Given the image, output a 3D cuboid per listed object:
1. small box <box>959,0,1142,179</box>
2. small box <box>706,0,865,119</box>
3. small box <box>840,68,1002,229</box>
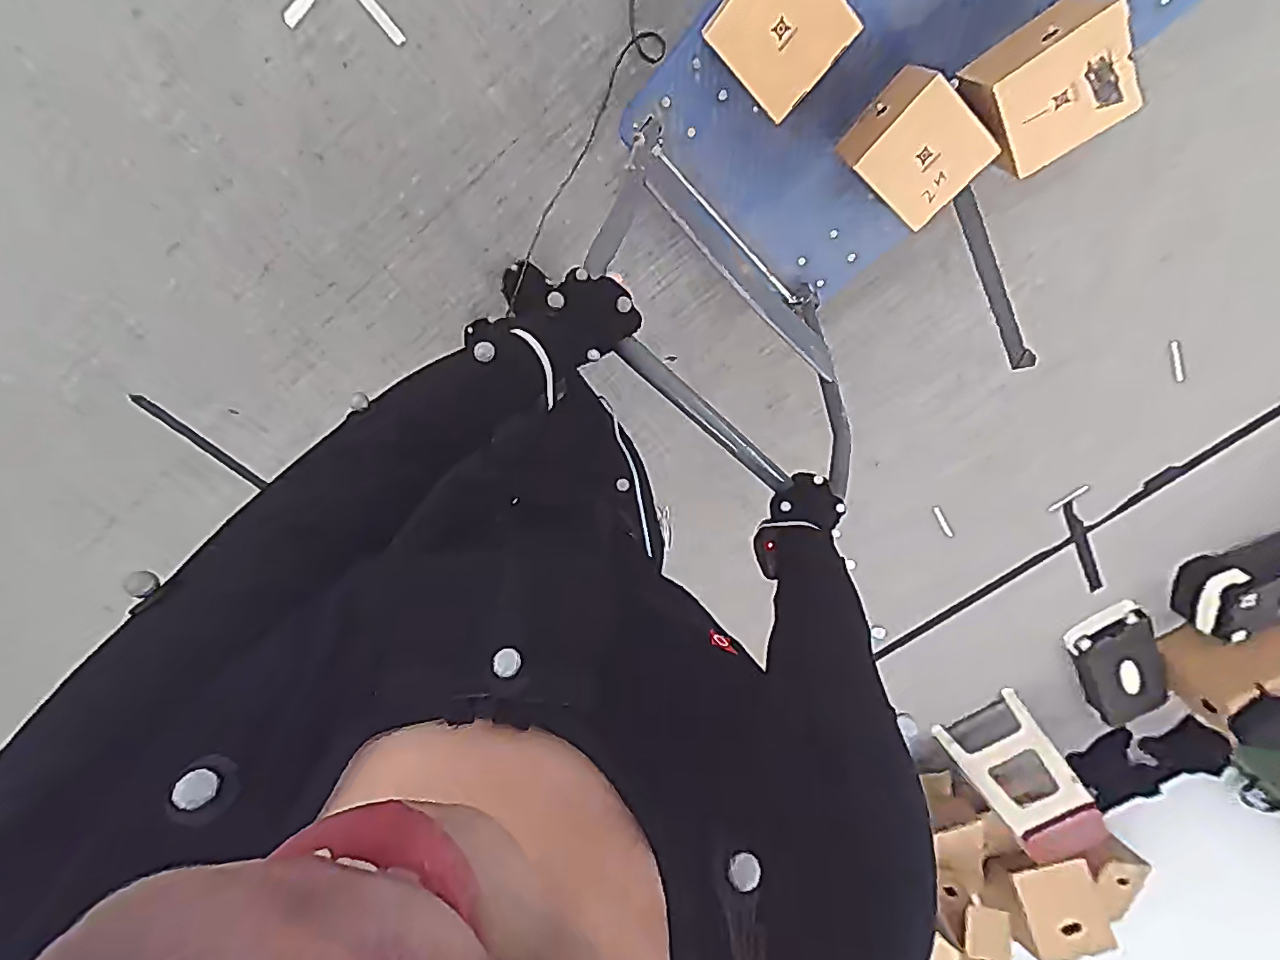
[{"bbox_3d":[0.667,-0.644,0.893,0.179,0.176,0.168,-26,124,27],"label":"small box"},{"bbox_3d":[0.220,-0.727,0.864,0.179,0.176,0.168,34,126,-25],"label":"small box"},{"bbox_3d":[0.484,-0.589,0.959,0.179,0.176,0.168,32,127,-21],"label":"small box"}]
